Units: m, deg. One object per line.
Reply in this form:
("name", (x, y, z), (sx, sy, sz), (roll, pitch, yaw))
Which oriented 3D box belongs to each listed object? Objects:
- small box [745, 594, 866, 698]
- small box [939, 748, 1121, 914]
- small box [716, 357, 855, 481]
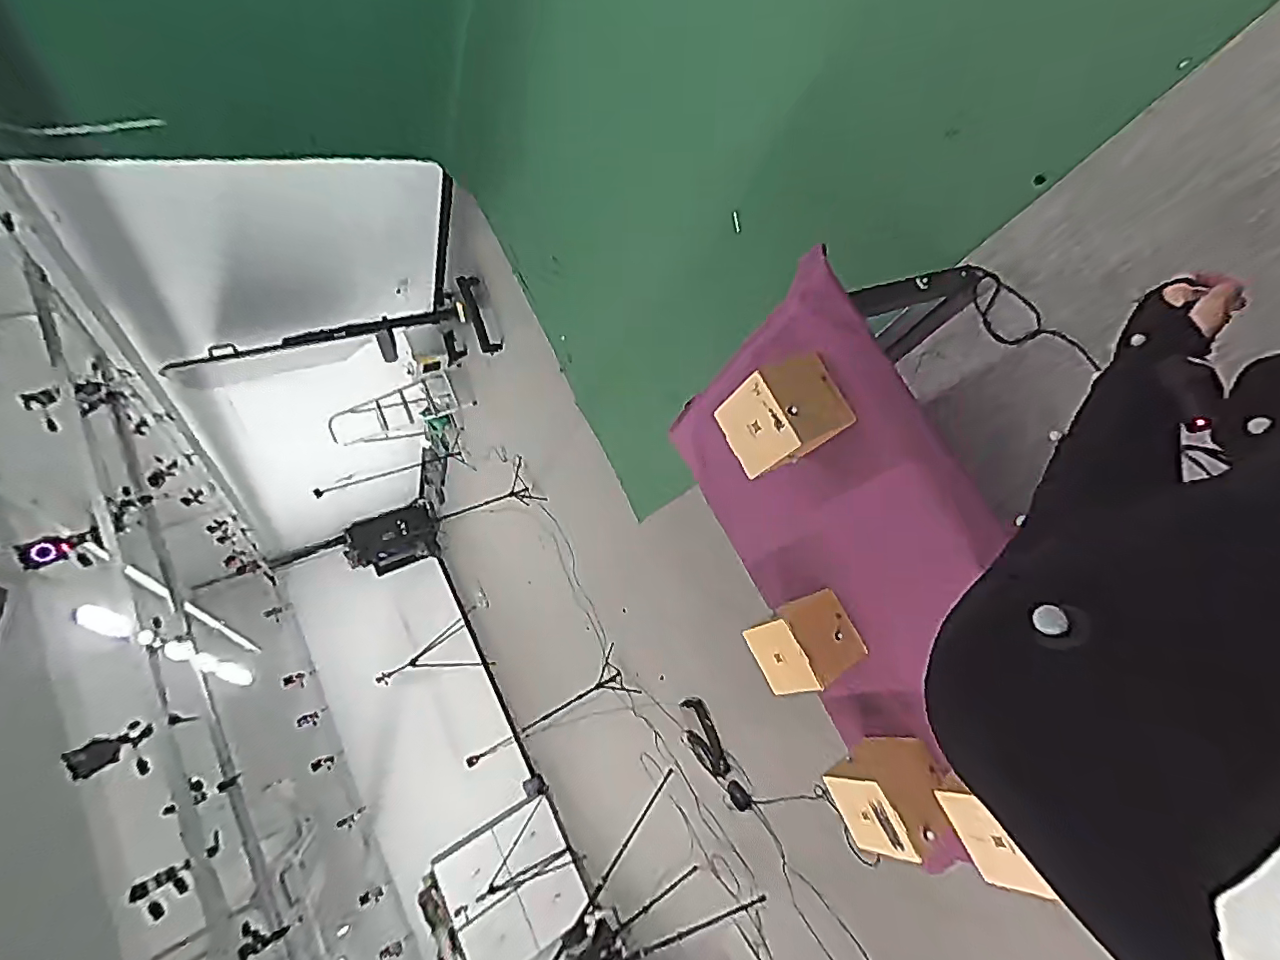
("small box", (0.386, 0.389, 1.265), (0.168, 0.176, 0.179), (62, 147, 13))
("small box", (0.670, 0.581, 0.925), (0.168, 0.176, 0.179), (62, 149, 12))
("small box", (0.293, -0.123, 1.098), (0.168, 0.176, 0.179), (62, 151, 10))
